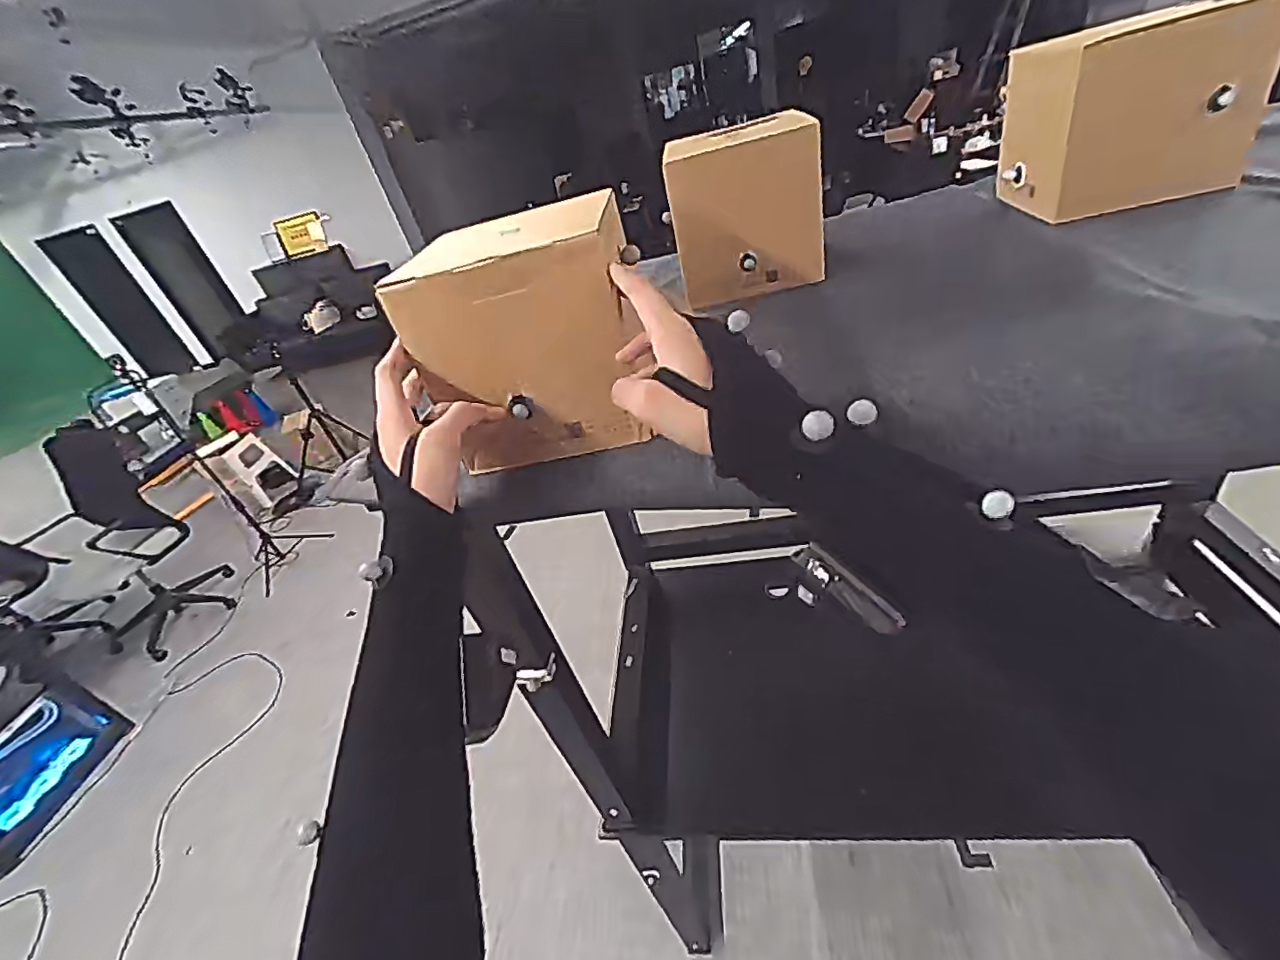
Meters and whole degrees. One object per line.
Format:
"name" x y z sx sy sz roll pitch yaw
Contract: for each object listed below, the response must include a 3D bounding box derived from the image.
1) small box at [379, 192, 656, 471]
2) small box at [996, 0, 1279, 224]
"small box" -0.084 -0.131 0.475 0.168 0.176 0.179 -11 35 9
"small box" 0.536 -0.408 0.607 0.179 0.176 0.168 -7 35 13
